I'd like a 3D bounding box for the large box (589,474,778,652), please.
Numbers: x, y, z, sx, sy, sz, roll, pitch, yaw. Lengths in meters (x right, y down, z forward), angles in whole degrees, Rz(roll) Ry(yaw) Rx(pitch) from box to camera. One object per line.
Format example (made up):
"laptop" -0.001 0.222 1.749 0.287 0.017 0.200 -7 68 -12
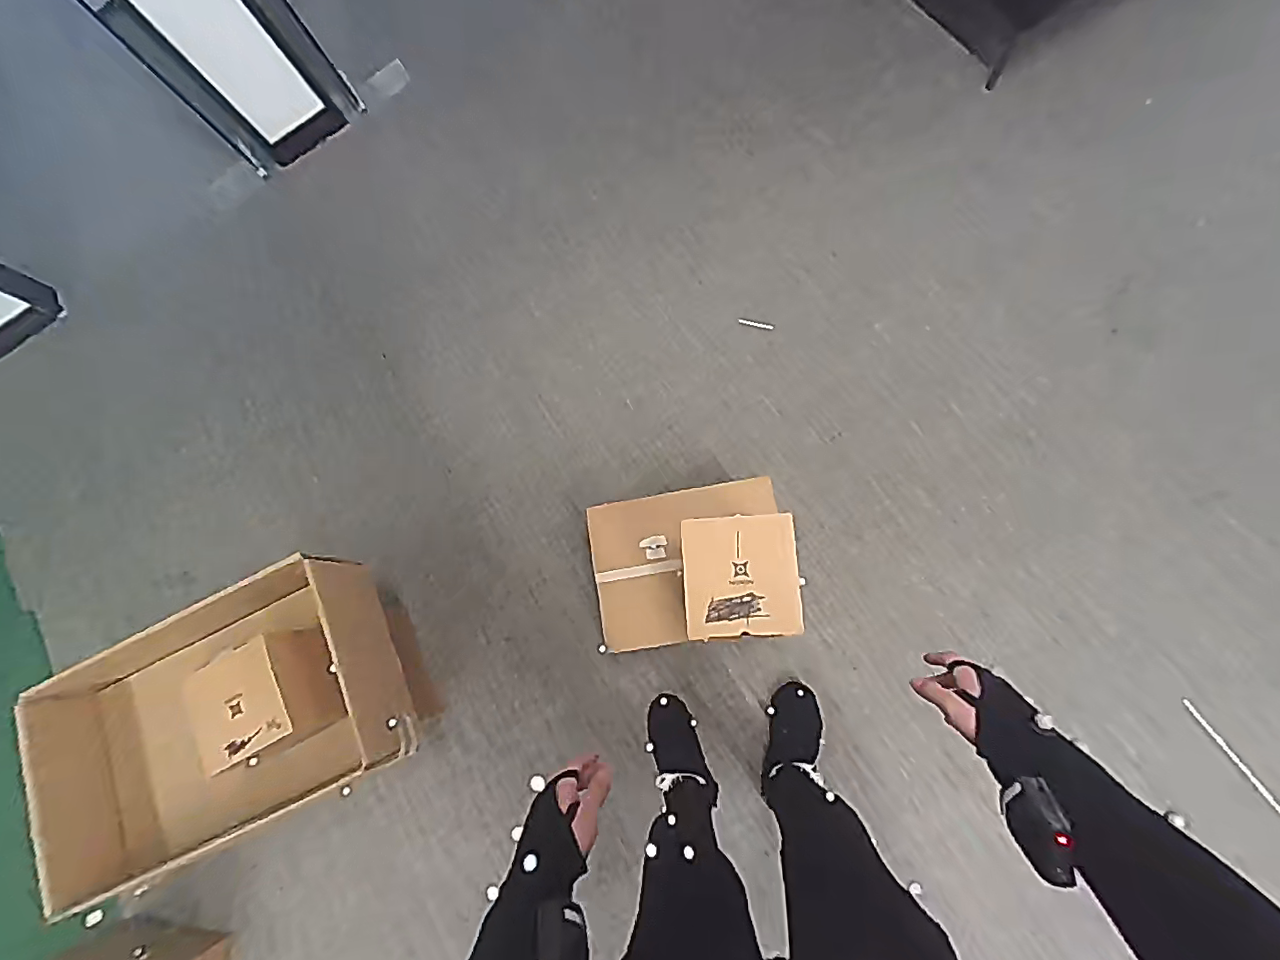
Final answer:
"large box" 0.128 0.199 1.268 0.408 0.320 0.320 -11 76 7

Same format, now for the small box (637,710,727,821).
"small box" 0.107 0.658 1.274 0.168 0.176 0.179 11 77 17

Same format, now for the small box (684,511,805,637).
"small box" 0.161 0.148 0.853 0.168 0.176 0.179 -4 79 8
